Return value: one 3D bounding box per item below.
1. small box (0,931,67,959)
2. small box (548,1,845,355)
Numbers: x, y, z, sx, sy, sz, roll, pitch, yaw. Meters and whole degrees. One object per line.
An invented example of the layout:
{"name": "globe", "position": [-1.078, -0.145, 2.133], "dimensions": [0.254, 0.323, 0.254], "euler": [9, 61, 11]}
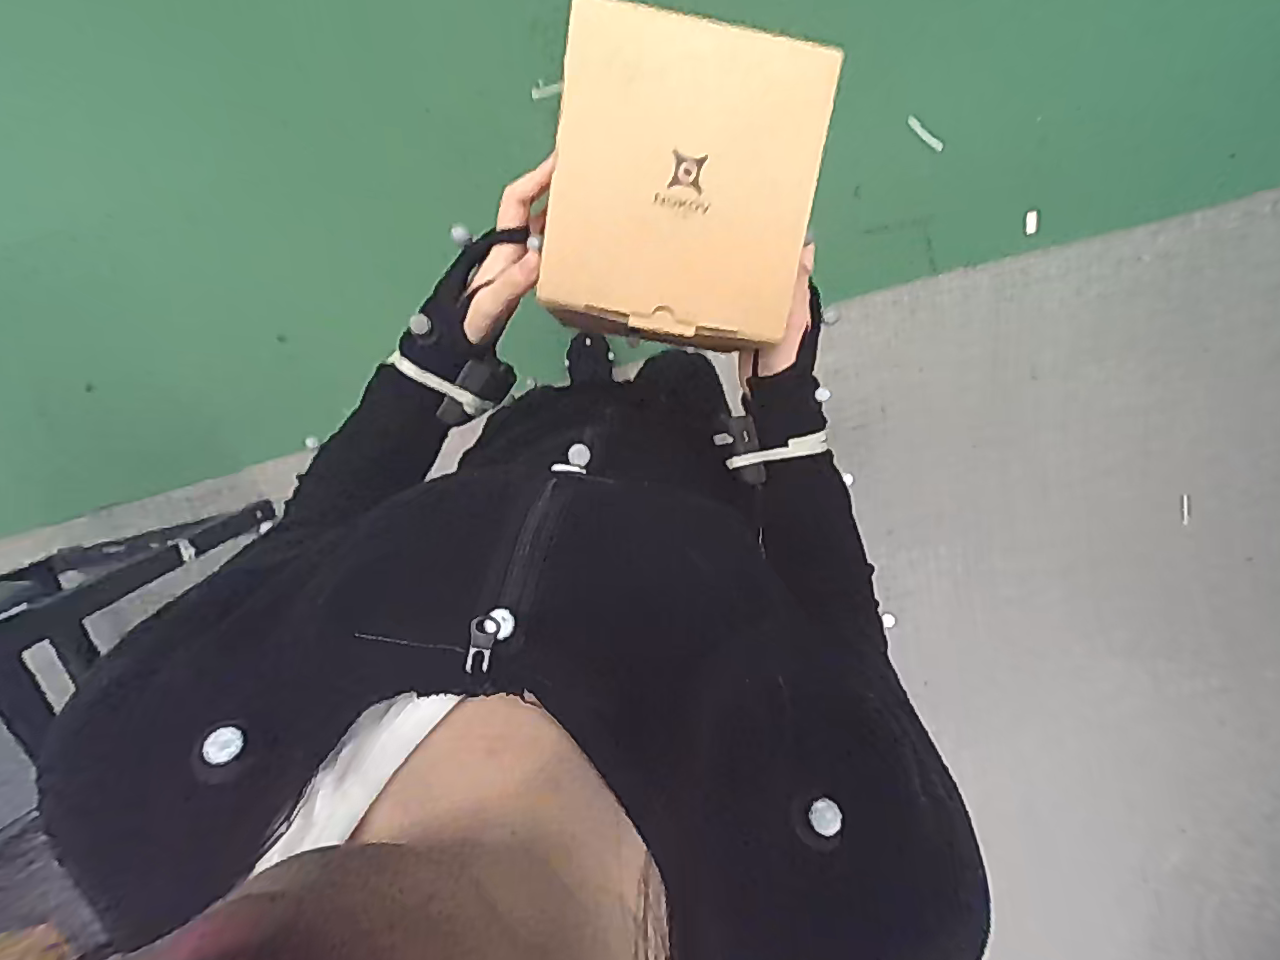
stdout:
{"name": "small box", "position": [-1.004, 0.825, 0.800], "dimensions": [0.179, 0.176, 0.168], "euler": [-14, 106, 0]}
{"name": "small box", "position": [0.028, -0.199, 0.415], "dimensions": [0.168, 0.176, 0.179], "euler": [8, 100, -5]}
